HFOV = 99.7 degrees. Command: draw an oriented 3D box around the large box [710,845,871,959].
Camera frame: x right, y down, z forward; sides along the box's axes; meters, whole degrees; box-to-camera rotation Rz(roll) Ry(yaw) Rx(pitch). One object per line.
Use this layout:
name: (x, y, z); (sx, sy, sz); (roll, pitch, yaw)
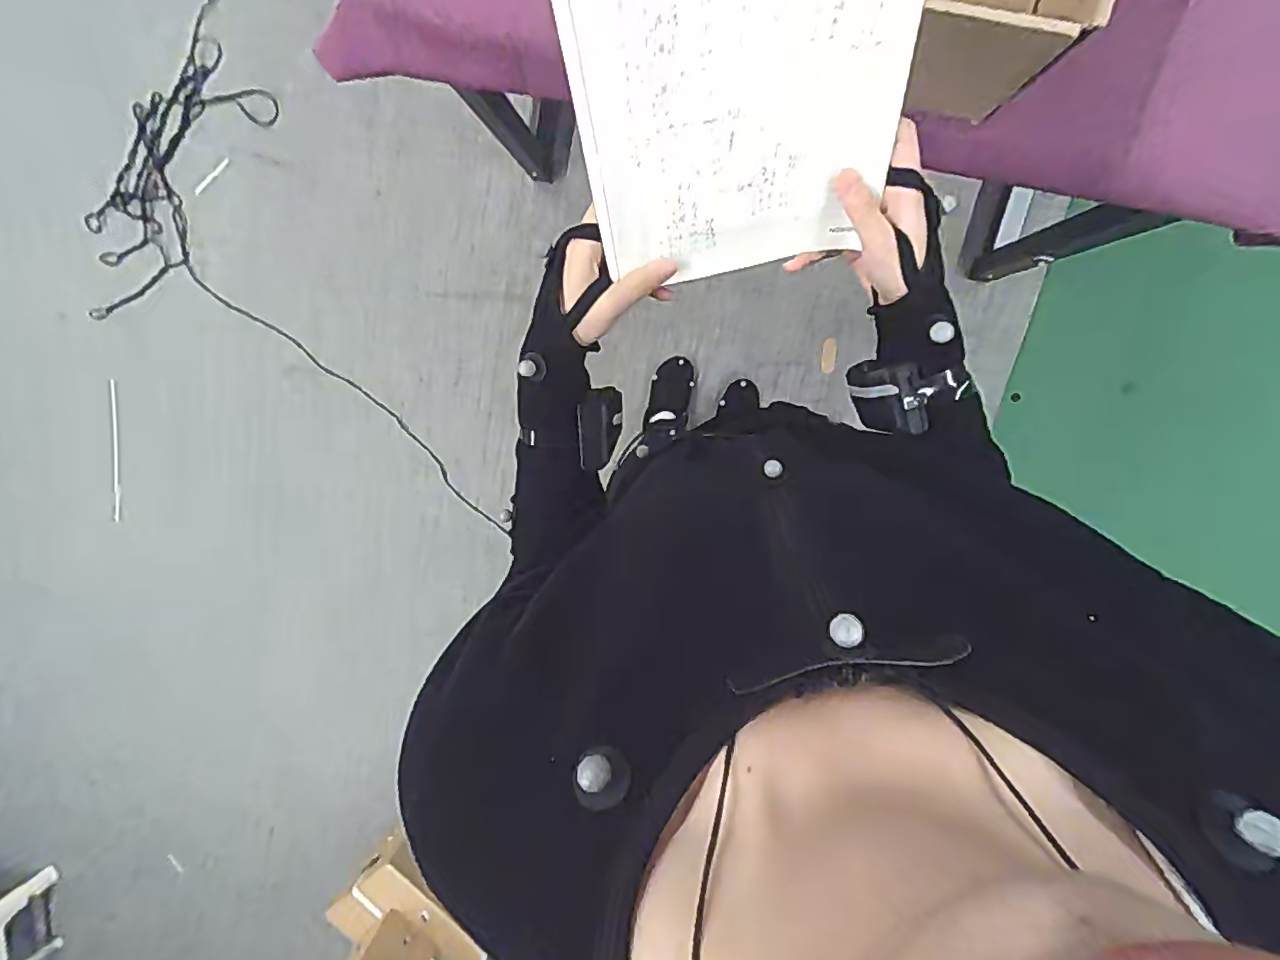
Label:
large box: (0.419, 1.334, 1.587); (0.408, 0.320, 0.320); (-1, 102, 5)

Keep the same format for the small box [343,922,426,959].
small box: (-0.722, 1.348, 1.457); (0.179, 0.176, 0.168); (42, 103, -2)
